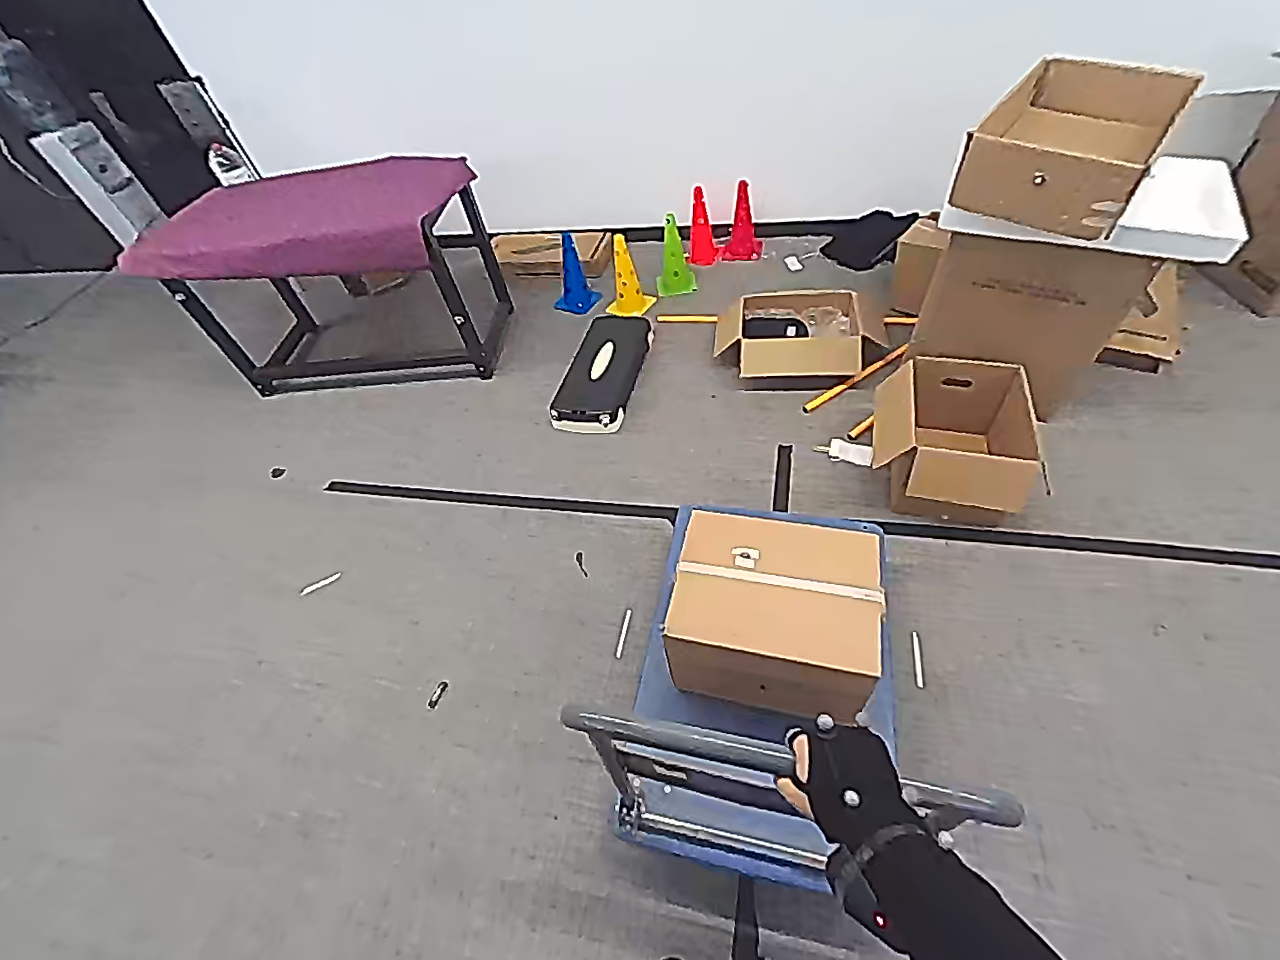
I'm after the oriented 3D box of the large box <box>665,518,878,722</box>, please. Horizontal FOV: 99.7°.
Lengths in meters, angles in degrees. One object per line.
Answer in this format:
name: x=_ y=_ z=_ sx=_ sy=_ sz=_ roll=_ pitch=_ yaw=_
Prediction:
large box: x=0.297 y=0.317 z=1.230 sx=0.408 sy=0.320 sz=0.320 roll=6 pitch=50 yaw=15
